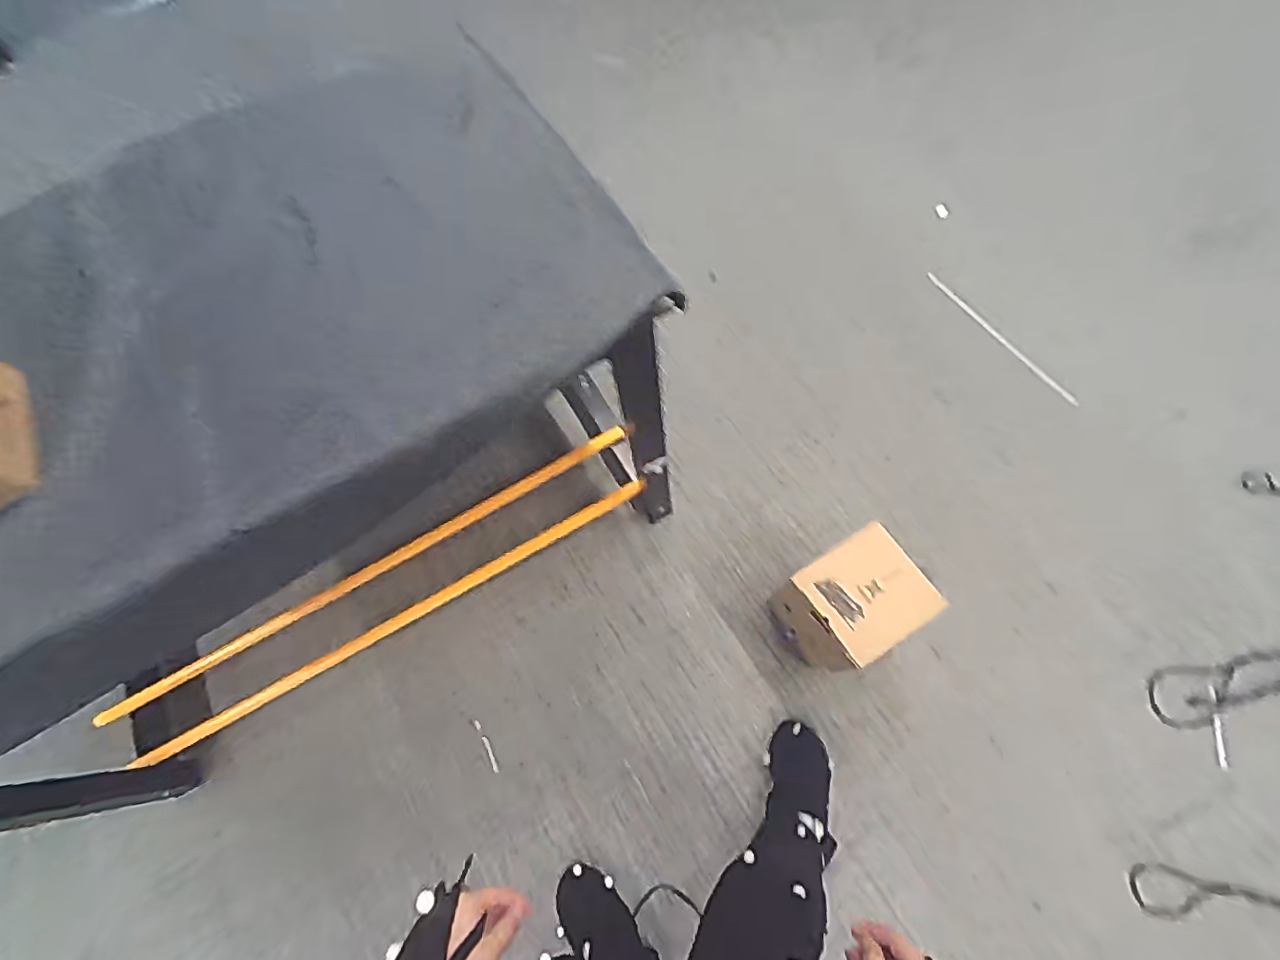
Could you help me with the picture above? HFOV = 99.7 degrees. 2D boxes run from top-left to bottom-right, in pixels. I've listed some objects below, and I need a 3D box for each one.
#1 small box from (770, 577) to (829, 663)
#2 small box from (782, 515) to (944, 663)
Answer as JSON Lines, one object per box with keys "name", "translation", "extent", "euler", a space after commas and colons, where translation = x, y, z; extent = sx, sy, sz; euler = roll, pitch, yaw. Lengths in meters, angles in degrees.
{"name": "small box", "translation": [0.380, 0.243, 1.070], "extent": [0.179, 0.176, 0.168], "euler": [-29, 68, -8]}
{"name": "small box", "translation": [0.359, 0.193, 0.915], "extent": [0.179, 0.176, 0.168], "euler": [-31, 69, -8]}
